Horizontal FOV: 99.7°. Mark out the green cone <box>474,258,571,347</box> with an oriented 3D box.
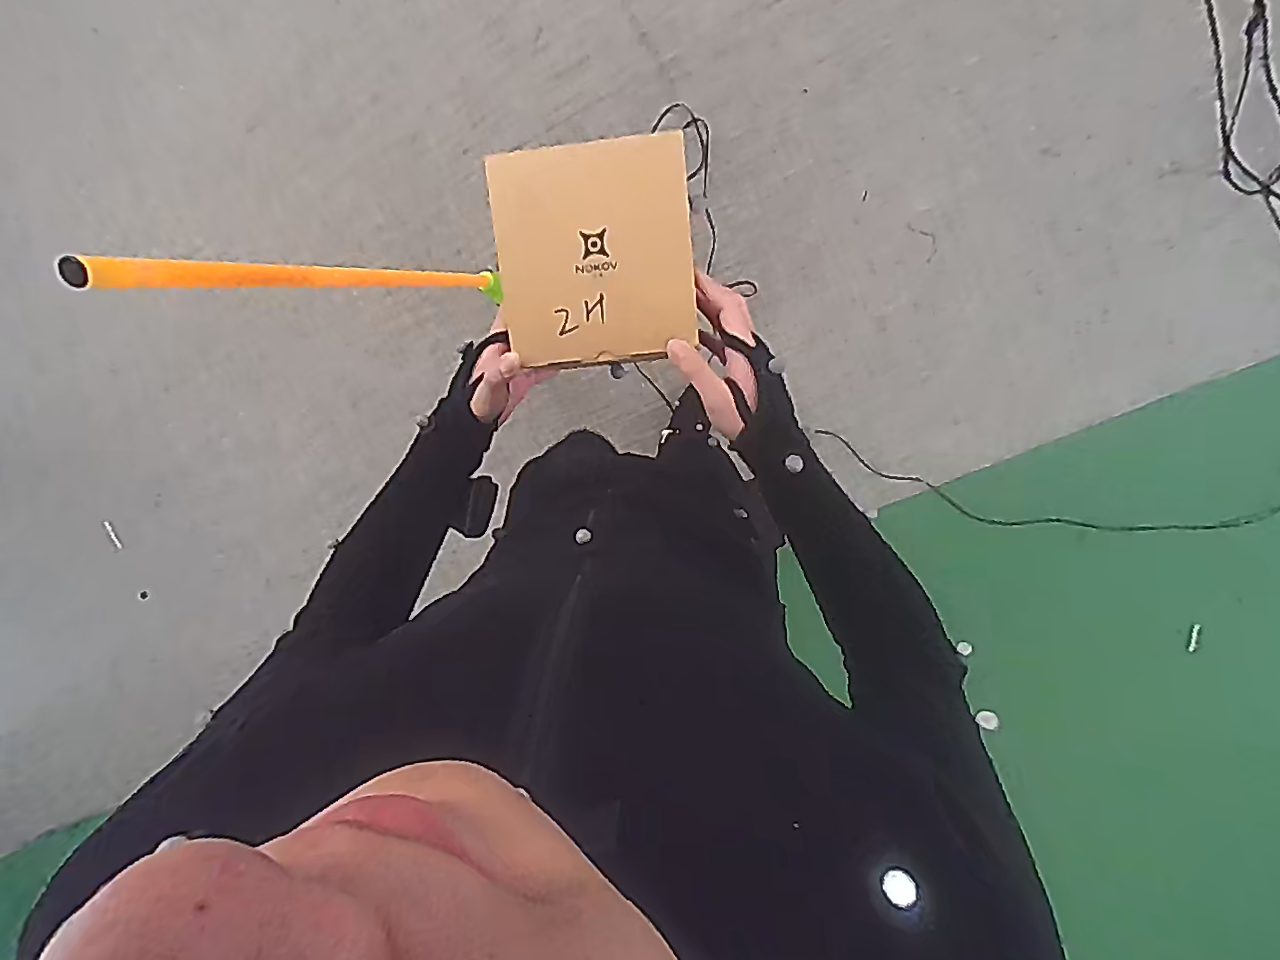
[{"bbox_3d":[-0.332,-0.467,1.359,0.202,0.368,0.200,-22,98,9],"label":"green cone"}]
